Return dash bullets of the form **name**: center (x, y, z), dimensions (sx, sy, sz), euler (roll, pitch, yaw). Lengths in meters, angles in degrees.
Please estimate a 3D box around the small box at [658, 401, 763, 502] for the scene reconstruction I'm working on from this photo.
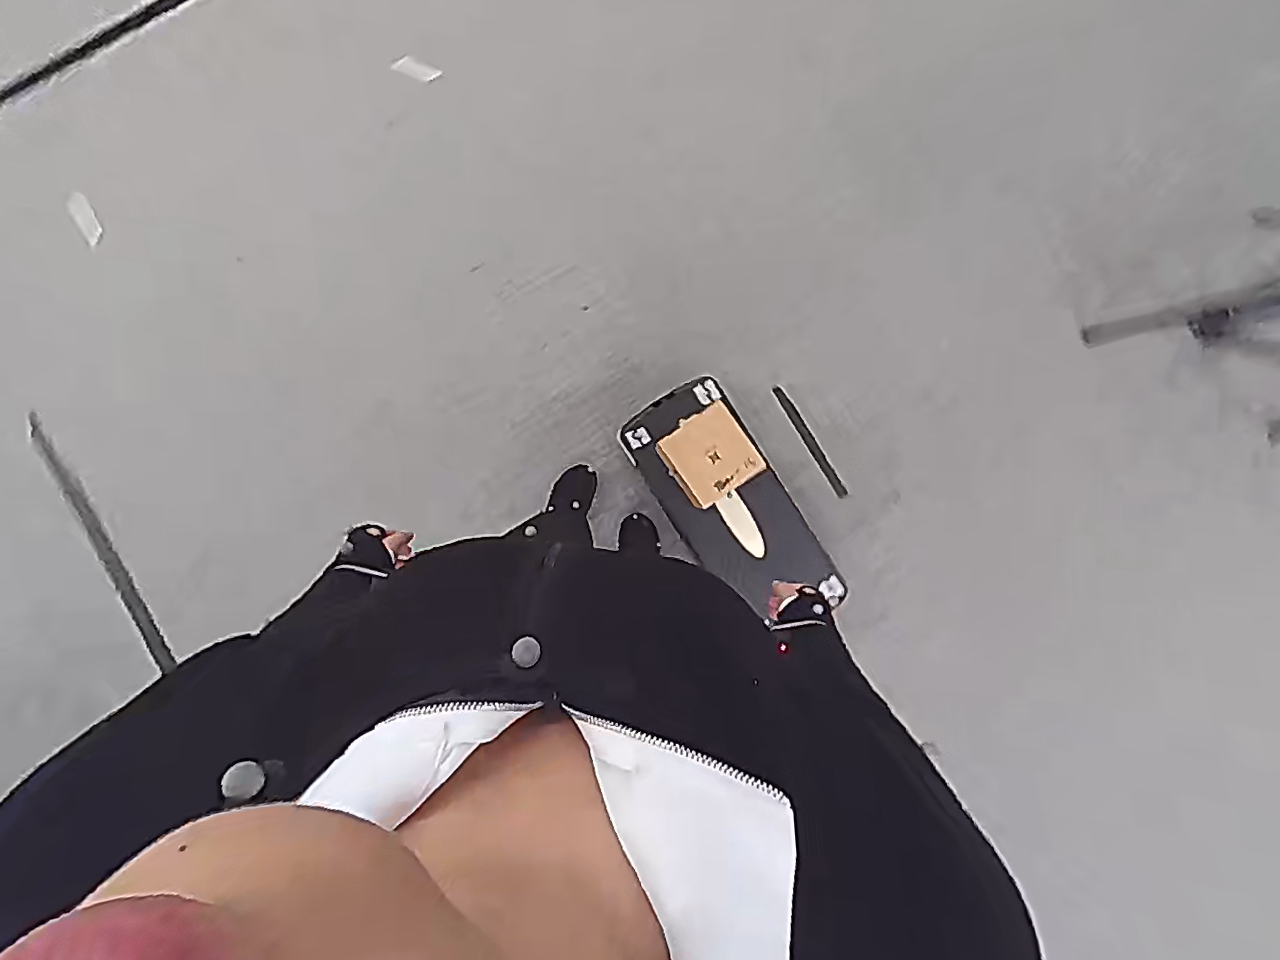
- **small box**: center (0.150, -0.062, 1.235), dimensions (0.168, 0.176, 0.179), euler (-34, 89, -1)
